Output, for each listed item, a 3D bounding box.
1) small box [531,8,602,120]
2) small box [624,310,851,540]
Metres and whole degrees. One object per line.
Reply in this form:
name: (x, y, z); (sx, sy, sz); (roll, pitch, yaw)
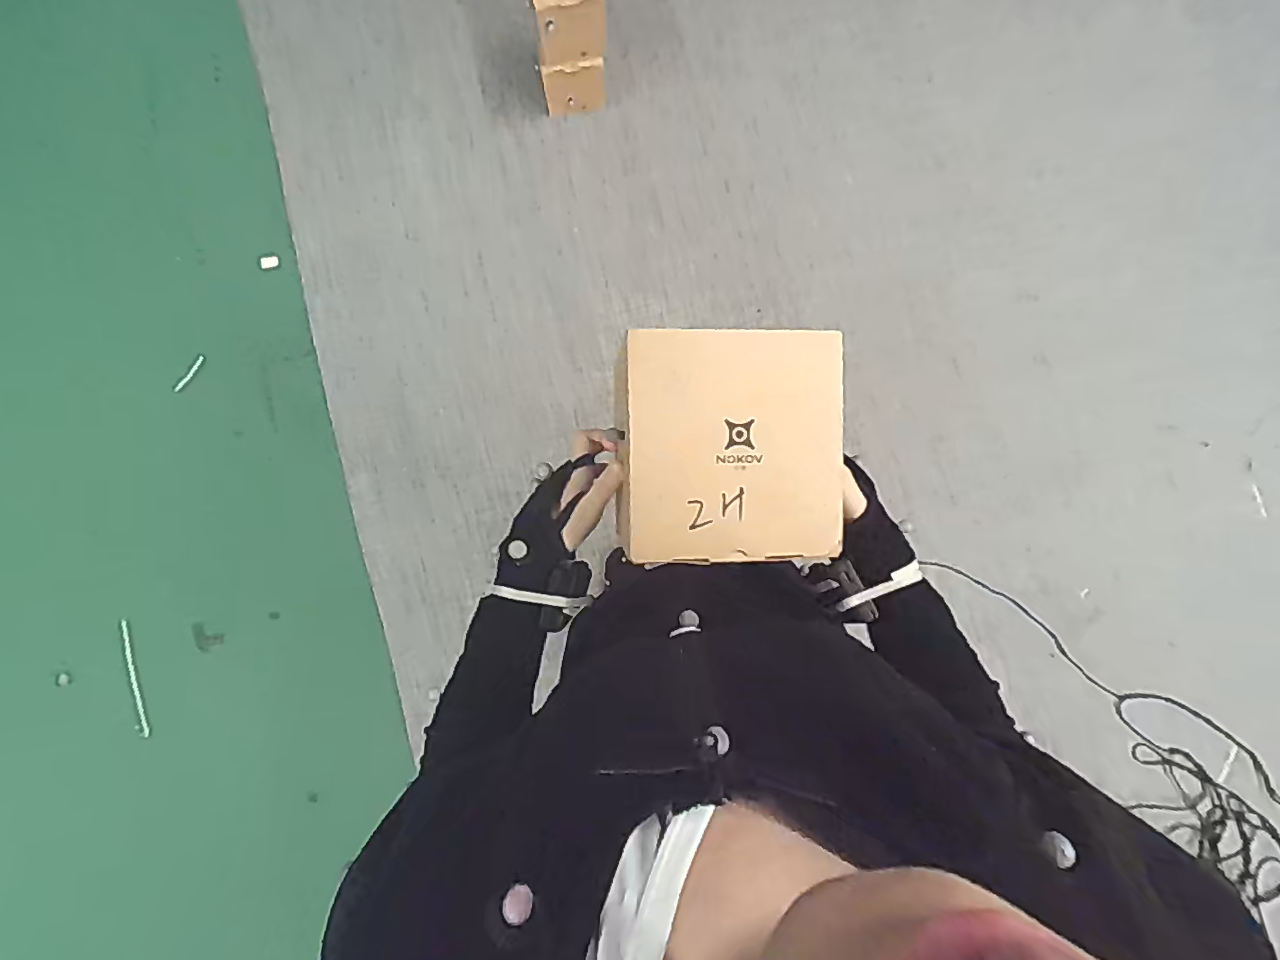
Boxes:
small box: (-0.199, -1.141, 1.491); (0.168, 0.176, 0.179); (-9, 88, -3)
small box: (0.074, -0.043, 0.493); (0.168, 0.176, 0.179); (-1, 91, -6)
